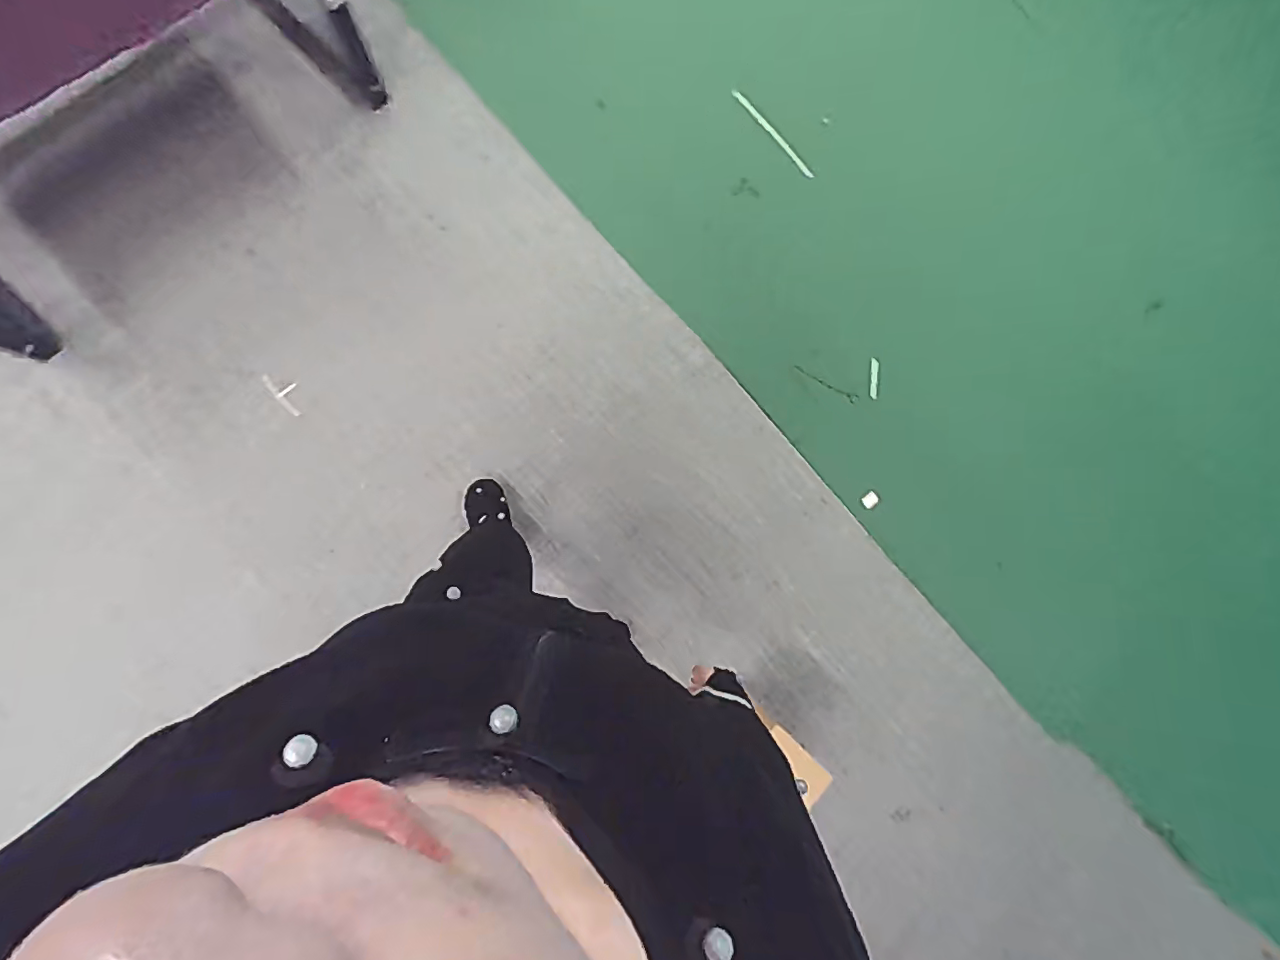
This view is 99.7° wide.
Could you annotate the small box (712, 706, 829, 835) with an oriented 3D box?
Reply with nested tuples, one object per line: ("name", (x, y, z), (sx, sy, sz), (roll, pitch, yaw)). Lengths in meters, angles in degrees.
("small box", (0.294, 0.660, 1.257), (0.179, 0.176, 0.168), (45, 81, 1))
